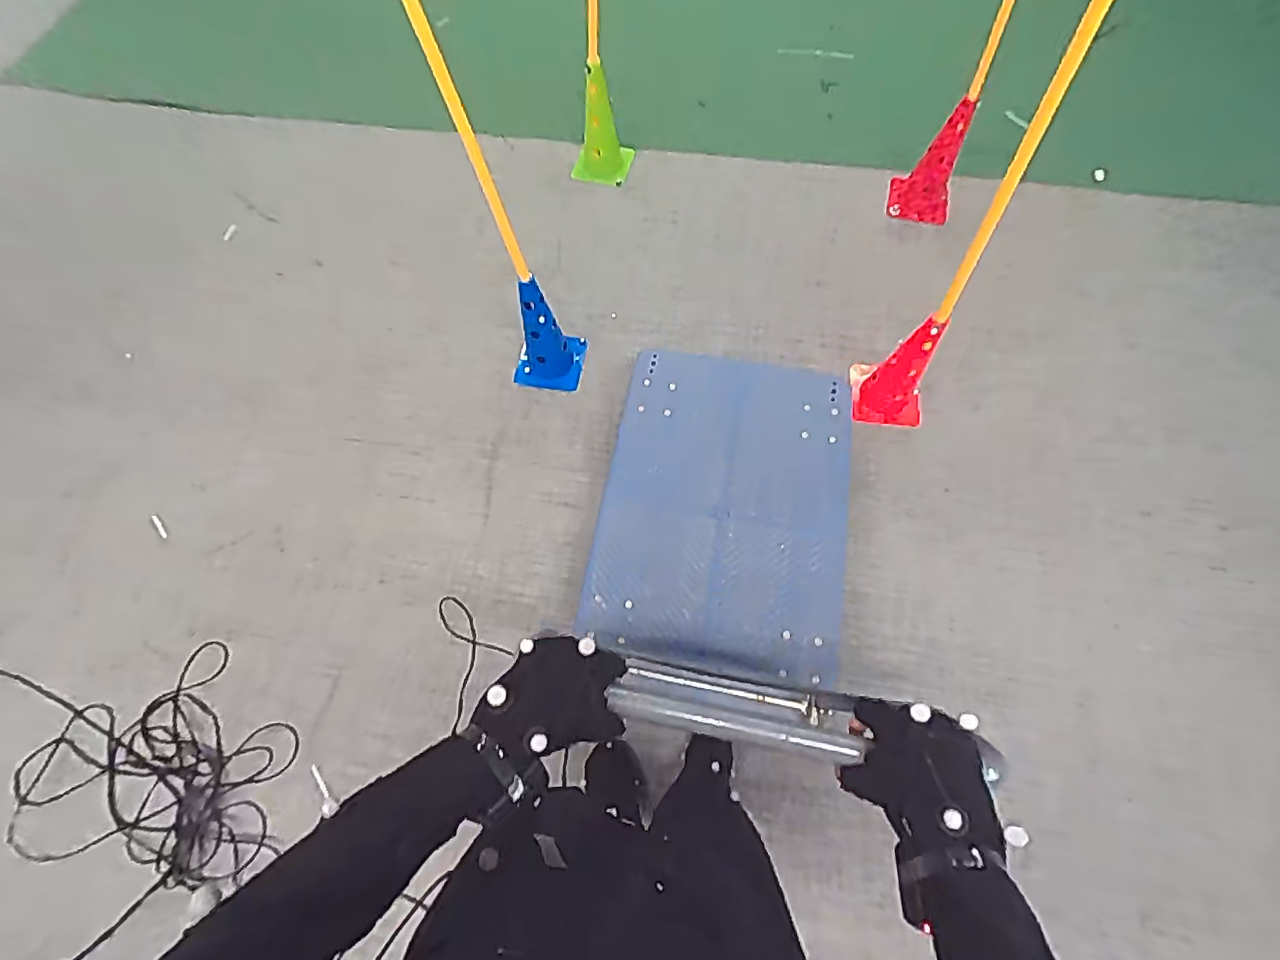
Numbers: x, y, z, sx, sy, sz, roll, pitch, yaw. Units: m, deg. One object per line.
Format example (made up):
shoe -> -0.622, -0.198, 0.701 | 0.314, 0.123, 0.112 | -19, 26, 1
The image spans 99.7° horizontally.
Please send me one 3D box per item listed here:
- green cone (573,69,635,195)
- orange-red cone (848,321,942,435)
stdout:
green cone -> -0.140, -1.215, 1.868 | 0.202, 0.368, 0.200 | 12, 67, 7
orange-red cone -> 0.714, -0.295, 1.459 | 0.199, 0.360, 0.198 | 7, 67, 6
